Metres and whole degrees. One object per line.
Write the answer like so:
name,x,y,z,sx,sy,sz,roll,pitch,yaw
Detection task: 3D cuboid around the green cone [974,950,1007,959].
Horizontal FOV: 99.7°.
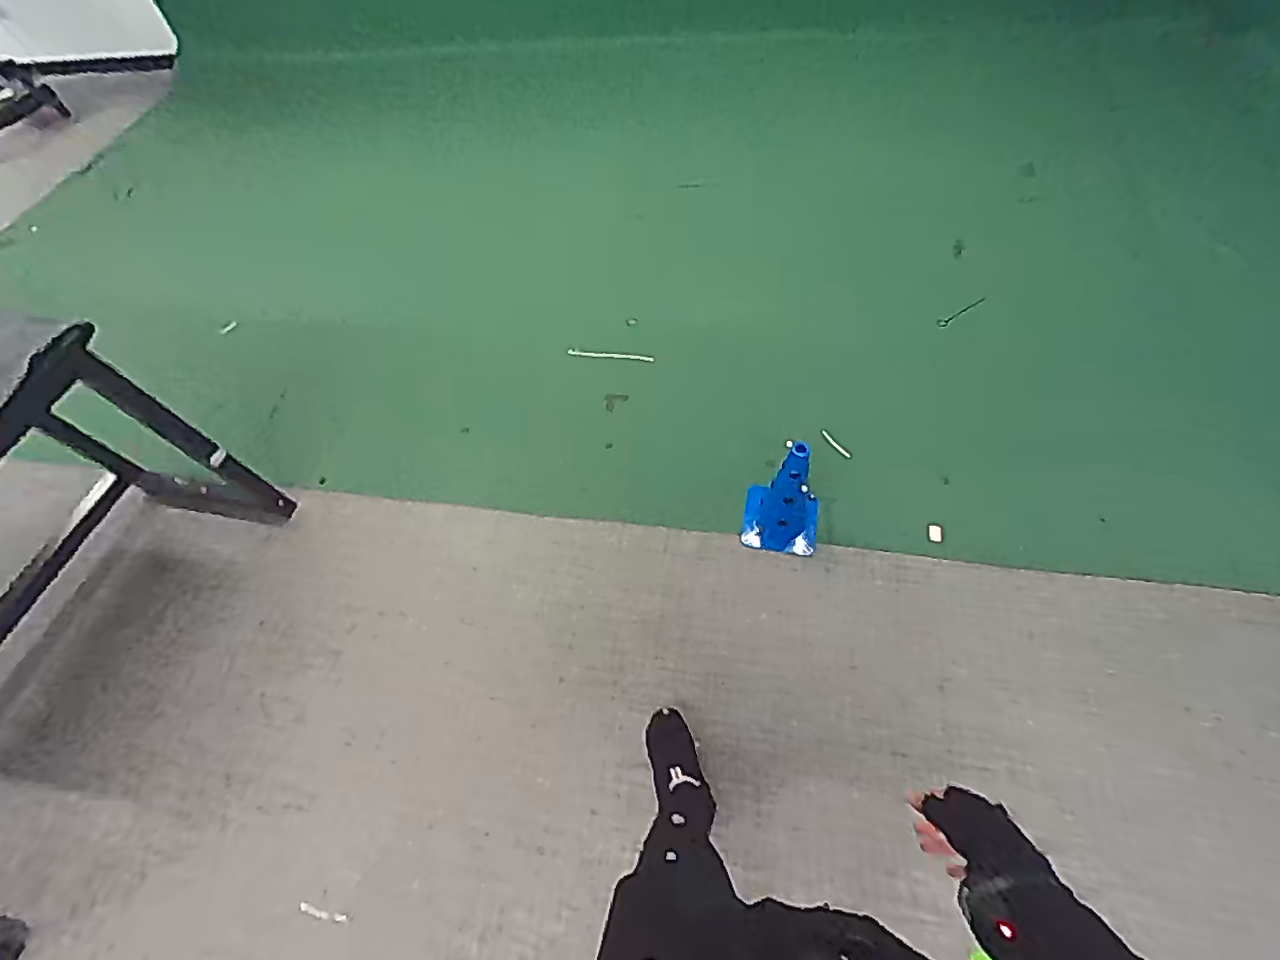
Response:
green cone,0.671,0.903,0.812,0.200,0.368,0.202,16,62,16
